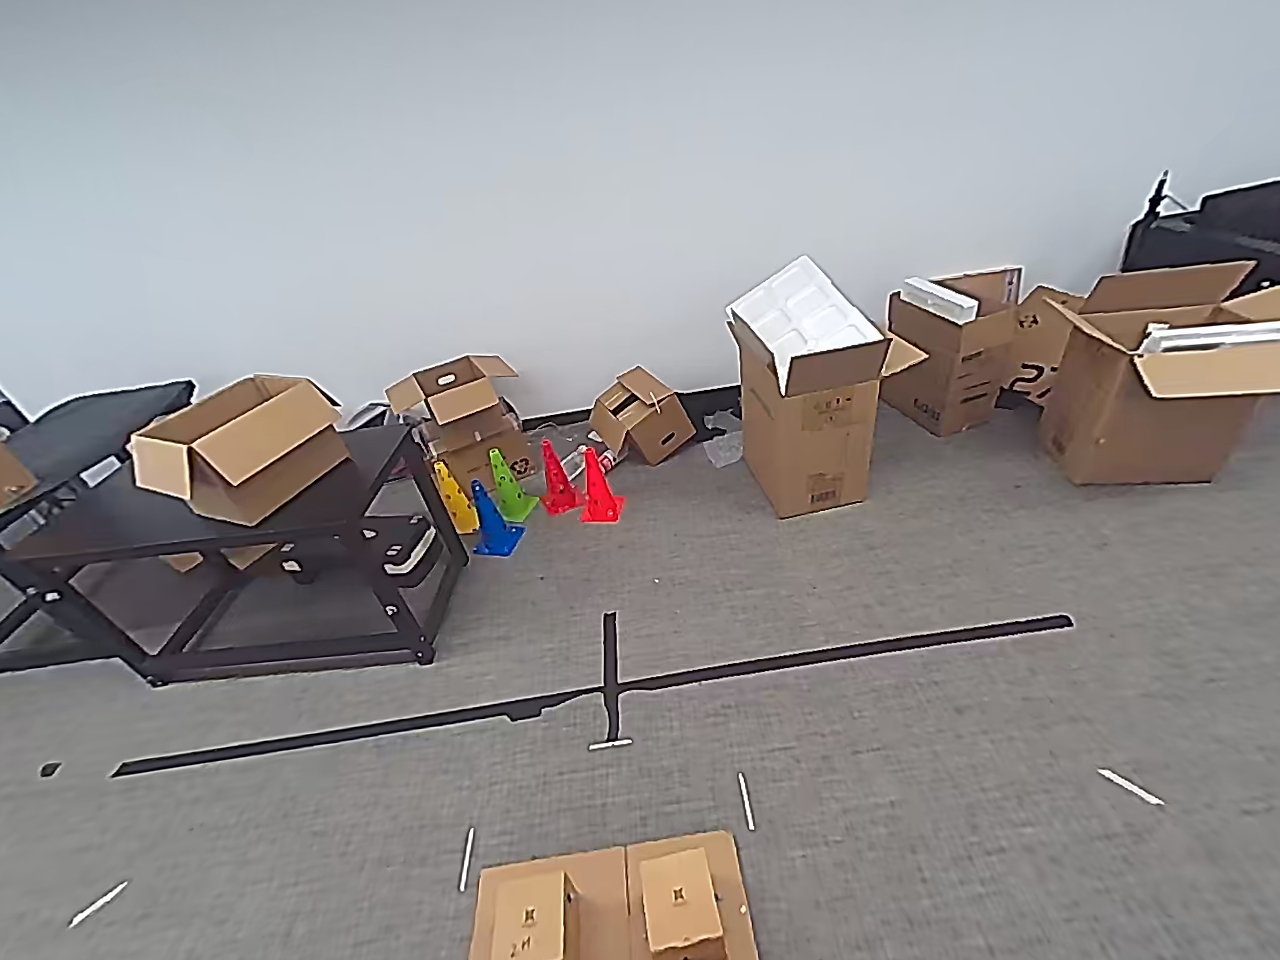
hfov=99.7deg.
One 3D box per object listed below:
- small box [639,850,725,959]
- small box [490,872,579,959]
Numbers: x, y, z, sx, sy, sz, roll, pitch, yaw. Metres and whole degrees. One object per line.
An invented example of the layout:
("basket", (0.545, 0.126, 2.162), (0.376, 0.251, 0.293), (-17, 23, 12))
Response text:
("small box", (0.098, 1.021, 1.278), (0.168, 0.176, 0.179), (-12, 36, -3))
("small box", (-0.242, 1.071, 1.279), (0.168, 0.176, 0.179), (-10, 36, 1))
